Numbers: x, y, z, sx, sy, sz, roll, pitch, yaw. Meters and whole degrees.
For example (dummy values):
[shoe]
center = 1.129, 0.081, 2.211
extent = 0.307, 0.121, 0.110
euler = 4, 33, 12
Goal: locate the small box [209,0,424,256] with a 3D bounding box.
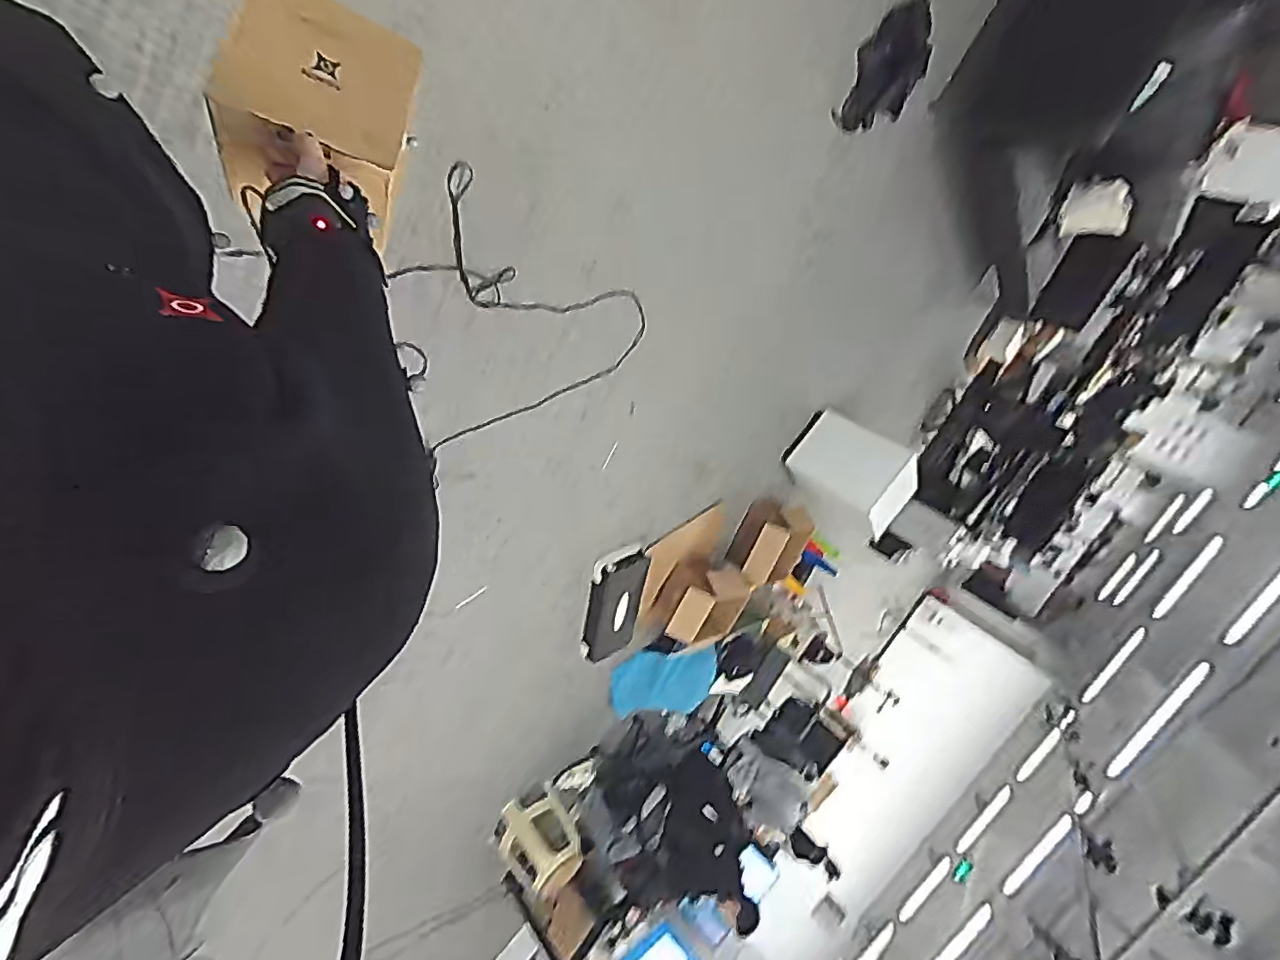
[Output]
[small box]
center = -0.361, -0.396, 0.623
extent = 0.168, 0.176, 0.179
euler = 12, 73, -29
